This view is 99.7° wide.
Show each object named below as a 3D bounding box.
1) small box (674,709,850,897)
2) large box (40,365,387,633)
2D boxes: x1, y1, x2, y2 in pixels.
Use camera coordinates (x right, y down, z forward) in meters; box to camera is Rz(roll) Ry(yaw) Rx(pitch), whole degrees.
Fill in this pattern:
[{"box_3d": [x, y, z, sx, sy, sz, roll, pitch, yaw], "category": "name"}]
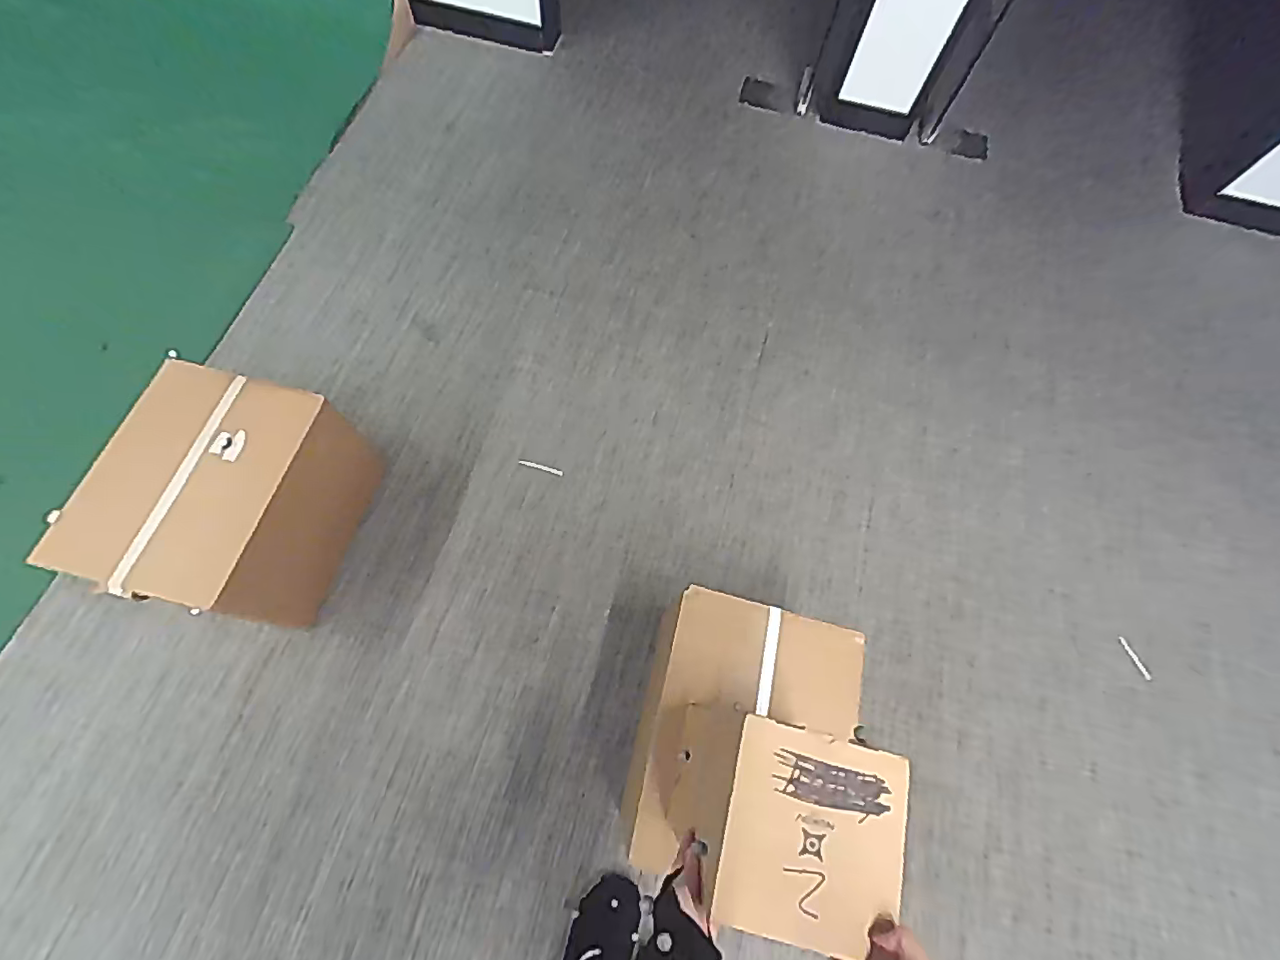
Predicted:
[{"box_3d": [0.154, 0.412, 0.723, 0.179, 0.176, 0.168, 14, 69, 2], "category": "small box"}, {"box_3d": [-0.773, 0.053, 1.061, 0.320, 0.320, 0.408, 14, 68, 2], "category": "large box"}]
